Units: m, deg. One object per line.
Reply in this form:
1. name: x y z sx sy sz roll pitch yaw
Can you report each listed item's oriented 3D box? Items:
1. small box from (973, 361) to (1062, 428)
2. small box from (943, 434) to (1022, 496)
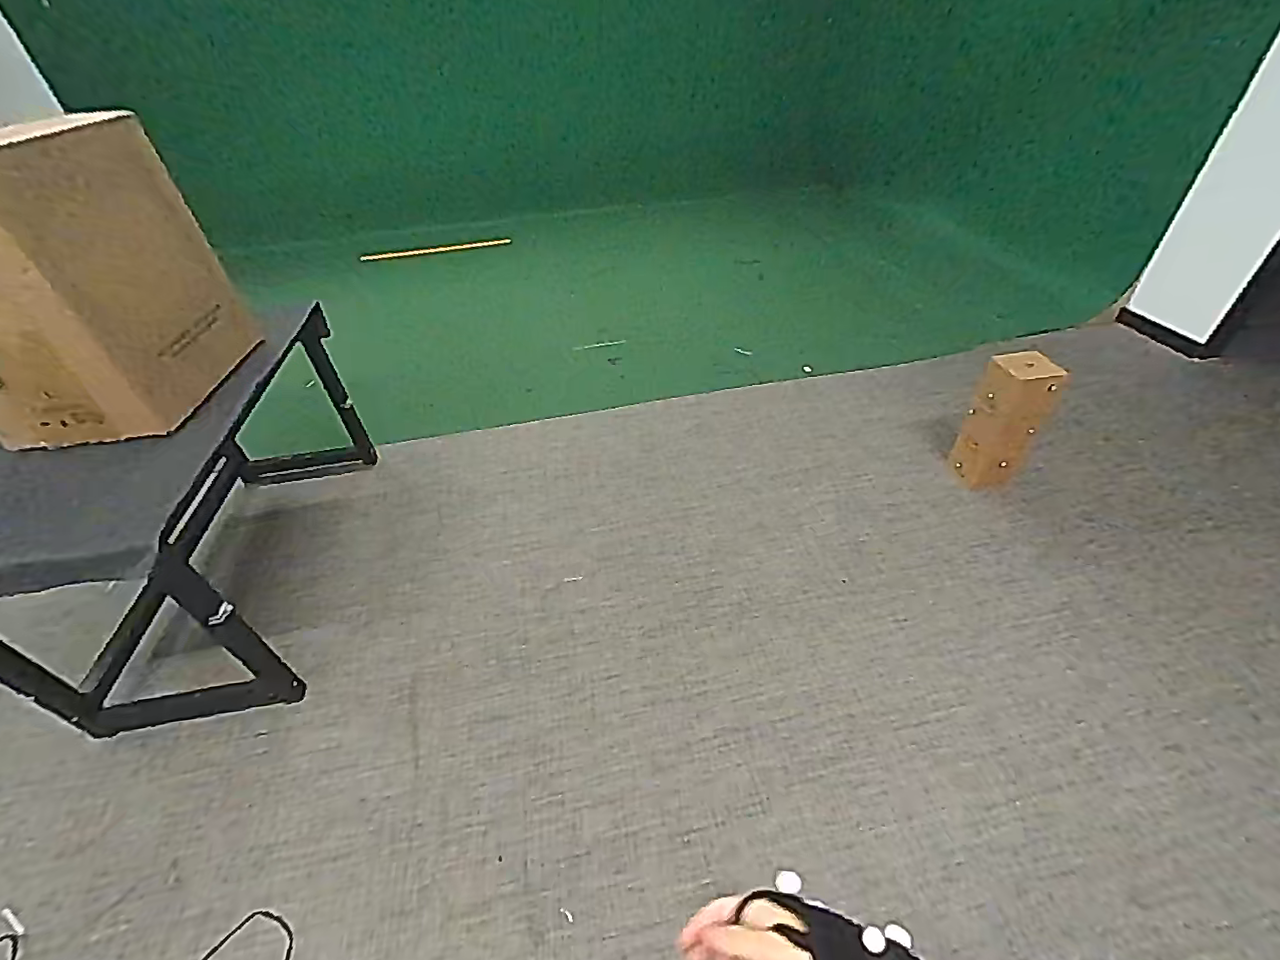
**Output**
1. small box: 1.341 -0.305 1.935 0.179 0.176 0.168 -7 41 -4
2. small box: 1.354 -0.058 2.152 0.179 0.176 0.168 -10 42 -6
